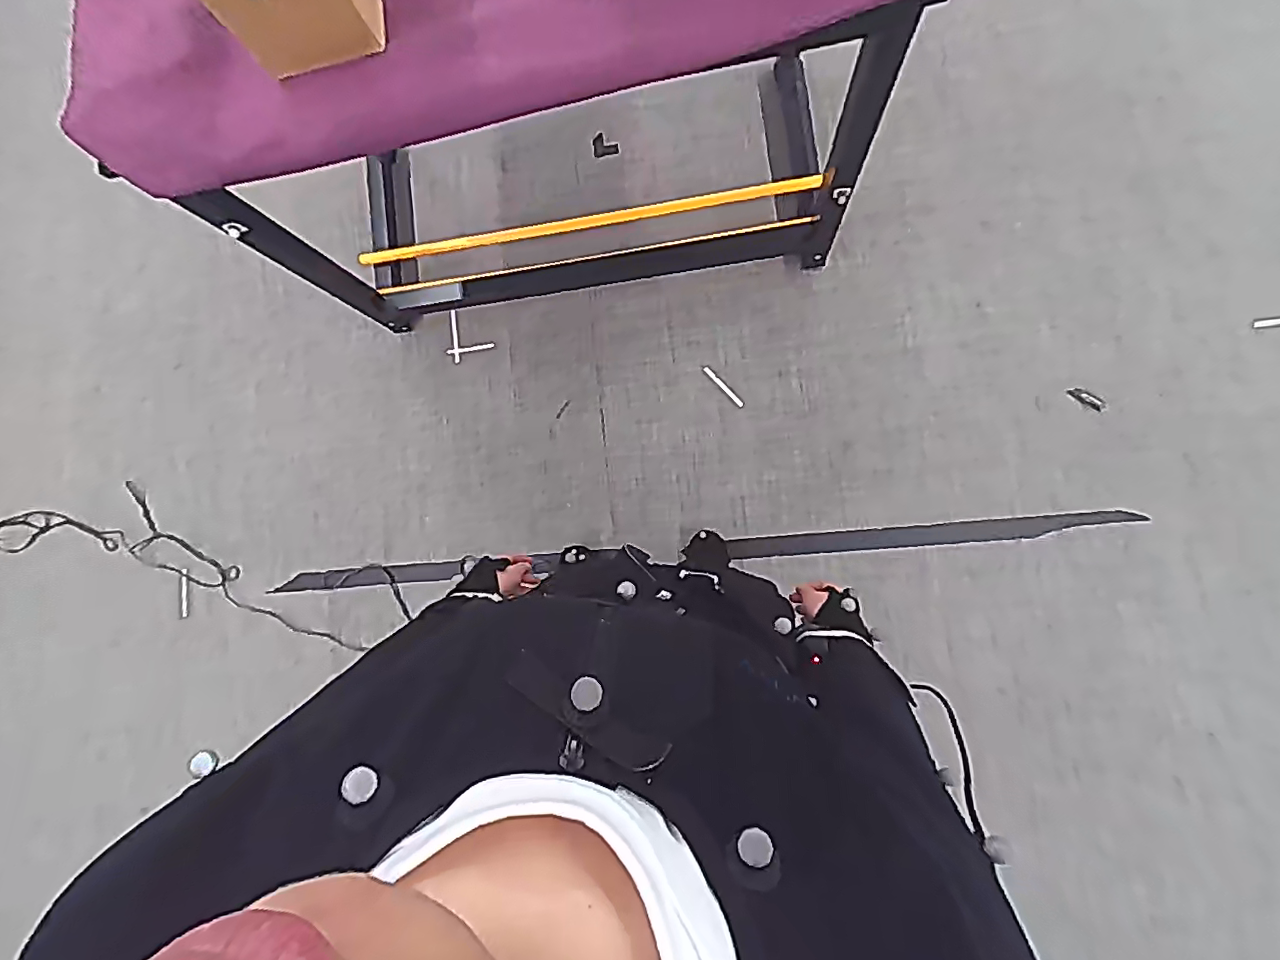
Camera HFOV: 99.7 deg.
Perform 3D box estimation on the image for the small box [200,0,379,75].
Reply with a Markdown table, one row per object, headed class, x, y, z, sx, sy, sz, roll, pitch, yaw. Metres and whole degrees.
| class | x | y | z | sx | sy | sz | roll | pitch | yaw |
| --- | --- | --- | --- | --- | --- | --- | --- | --- | --- |
| small box | -0.458 | -0.673 | 0.694 | 0.179 | 0.176 | 0.168 | -8 | 84 | 7 |
